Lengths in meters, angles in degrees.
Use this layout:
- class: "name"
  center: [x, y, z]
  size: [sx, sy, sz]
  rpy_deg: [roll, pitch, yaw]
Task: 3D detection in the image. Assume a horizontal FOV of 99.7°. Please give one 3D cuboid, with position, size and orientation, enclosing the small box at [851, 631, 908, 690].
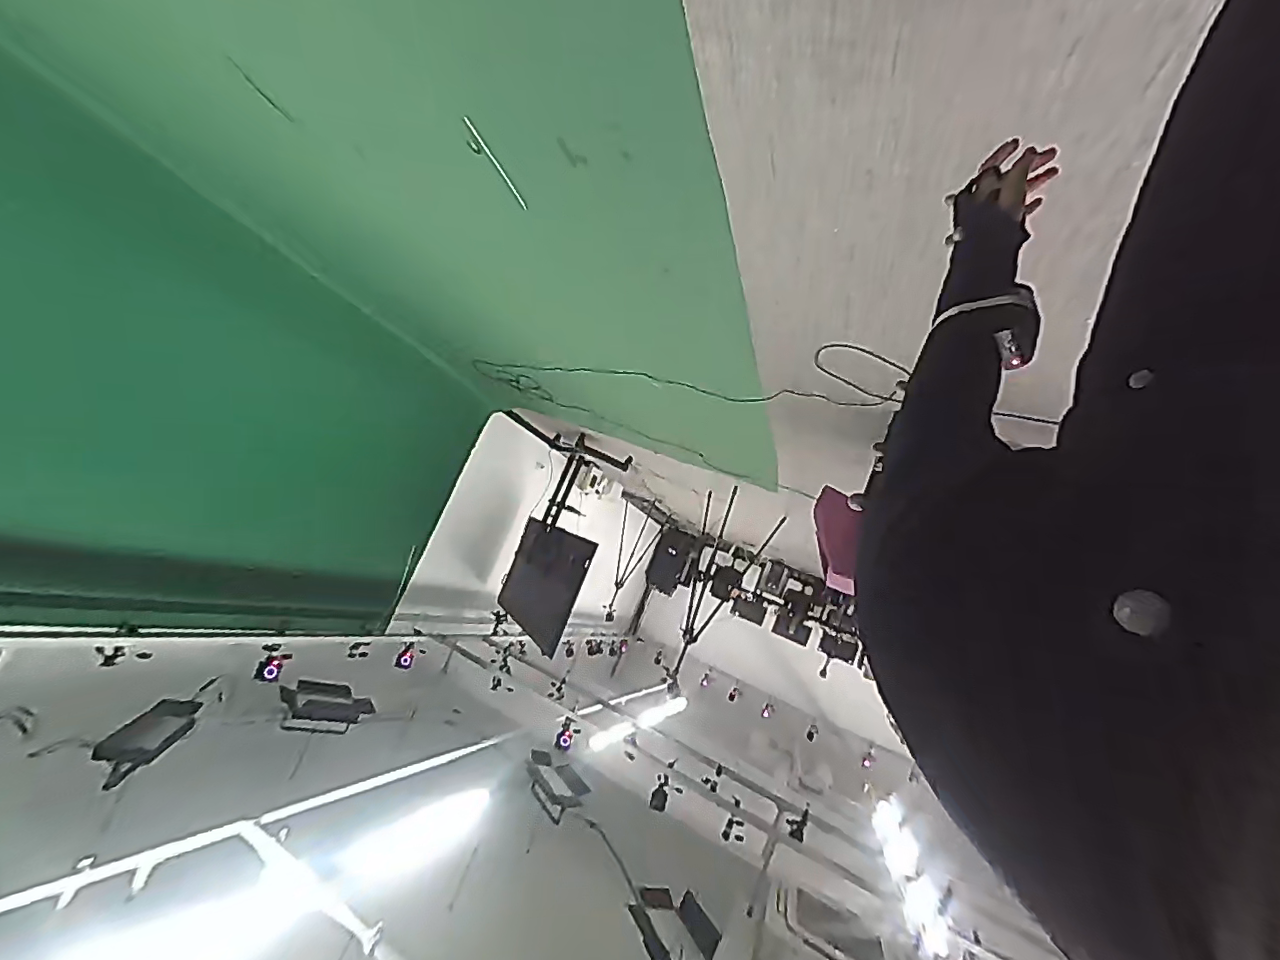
- class: "small box"
  center: [0.947, 0.708, 2.143]
  size: [0.168, 0.176, 0.179]
  rpy_deg: [19, 172, 24]
